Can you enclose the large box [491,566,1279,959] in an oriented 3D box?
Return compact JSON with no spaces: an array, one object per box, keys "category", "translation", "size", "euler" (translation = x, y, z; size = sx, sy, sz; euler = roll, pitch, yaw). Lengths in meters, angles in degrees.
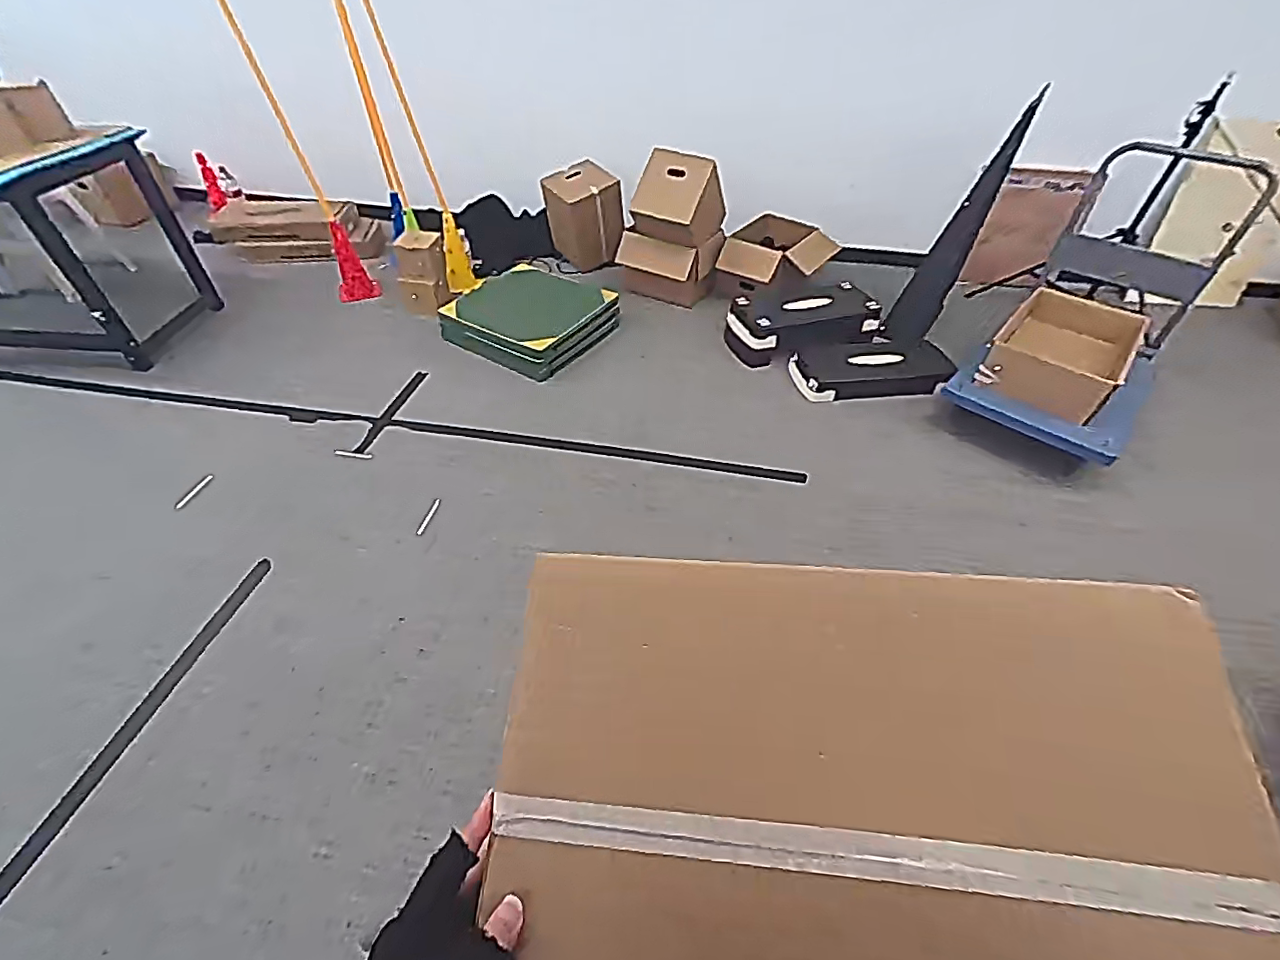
[{"category":"large box","translation":[0.135,0.266,0.432],"size":[0.408,0.320,0.320],"euler":[2,67,8]}]
